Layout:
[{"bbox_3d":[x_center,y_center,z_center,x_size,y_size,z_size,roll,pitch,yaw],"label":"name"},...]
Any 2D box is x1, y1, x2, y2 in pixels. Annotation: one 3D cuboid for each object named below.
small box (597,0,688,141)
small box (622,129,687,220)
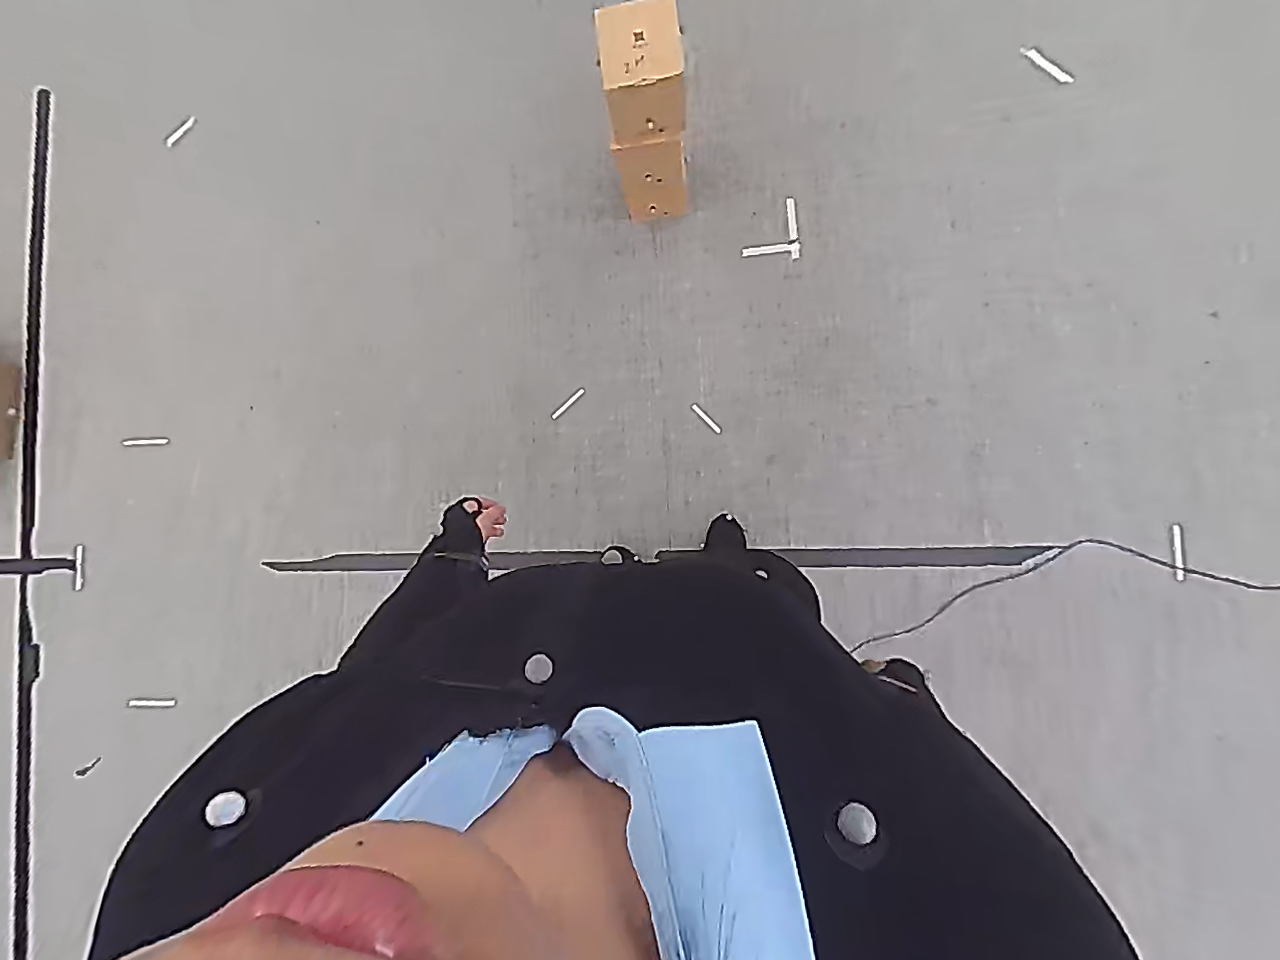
[{"bbox_3d":[0.010,-0.871,1.154,0.168,0.176,0.179,-8,87,6],"label":"small box"},{"bbox_3d":[0.042,-0.845,1.481,0.168,0.176,0.179,-4,86,6],"label":"small box"}]
